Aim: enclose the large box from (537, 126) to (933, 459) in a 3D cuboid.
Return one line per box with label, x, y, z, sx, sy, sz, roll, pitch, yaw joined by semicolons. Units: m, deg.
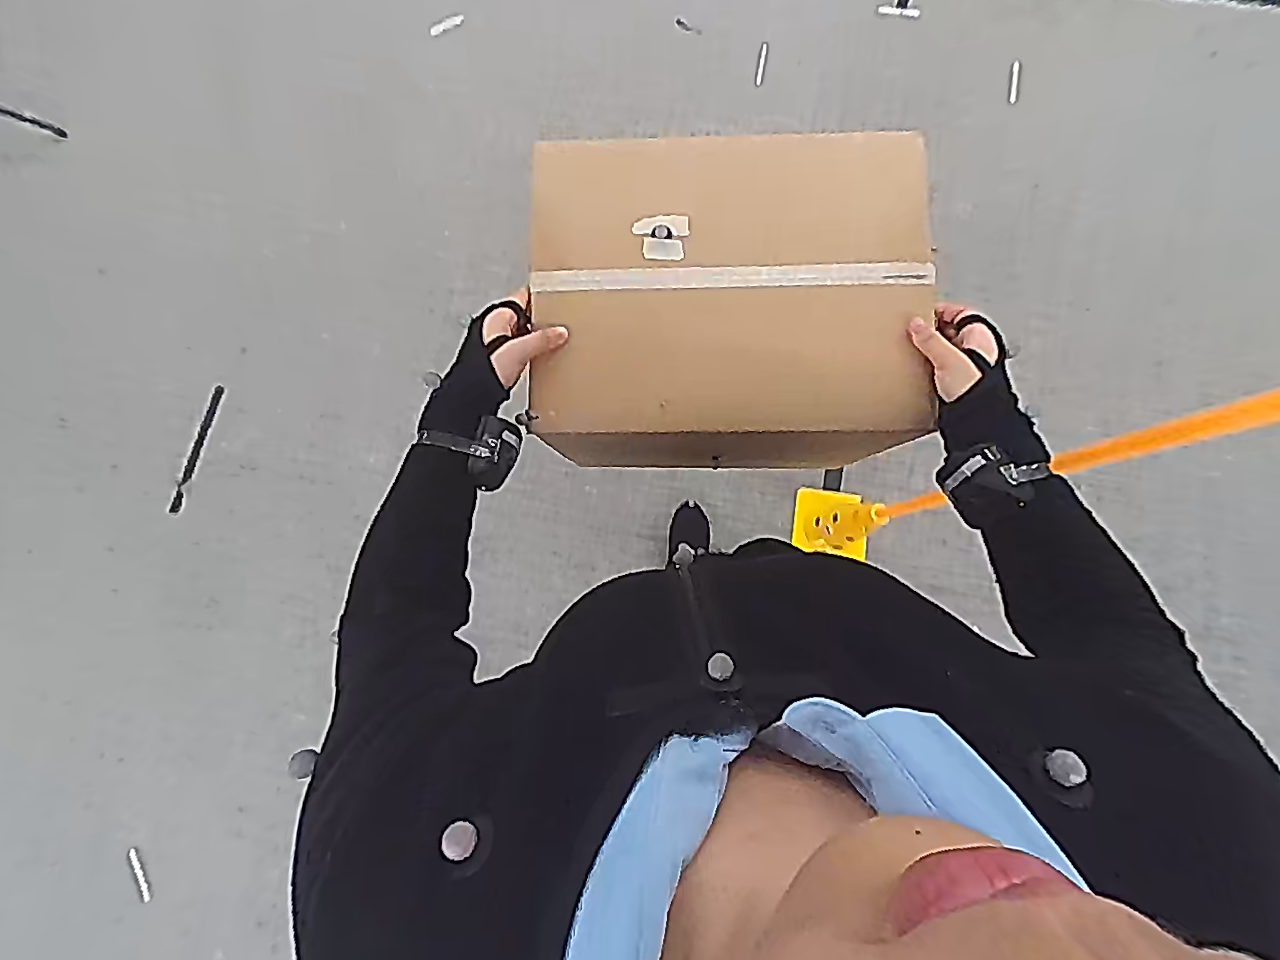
large box;0.103;-0.198;0.707;0.408;0.320;0.320;0;84;4
